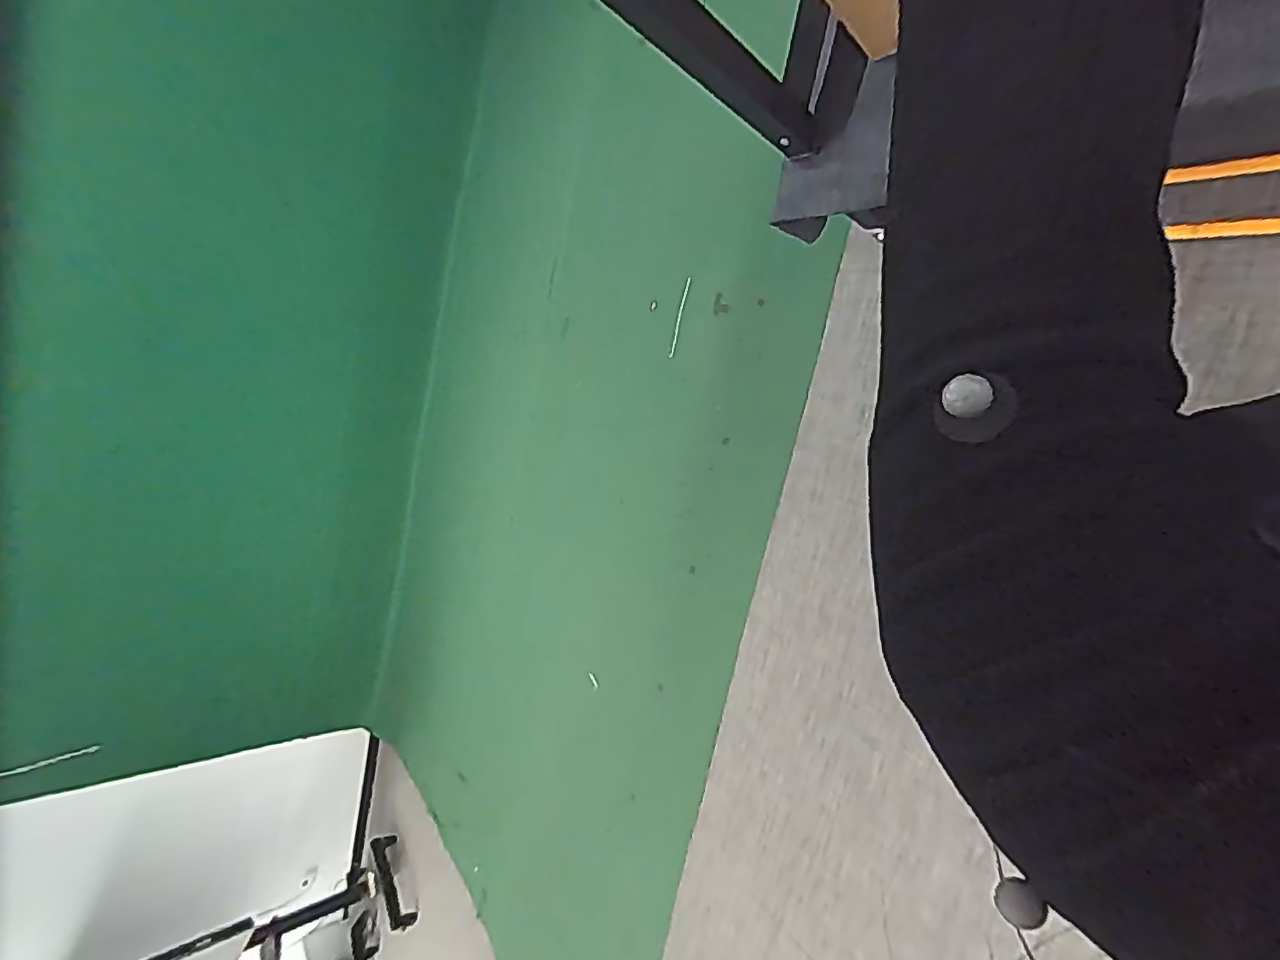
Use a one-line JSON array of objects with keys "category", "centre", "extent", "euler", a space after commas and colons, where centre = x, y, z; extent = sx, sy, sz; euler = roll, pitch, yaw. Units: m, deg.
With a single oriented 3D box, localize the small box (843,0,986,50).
[{"category": "small box", "centre": [0.374, -0.745, 0.729], "extent": [0.168, 0.176, 0.179], "euler": [17, 99, 47]}]
